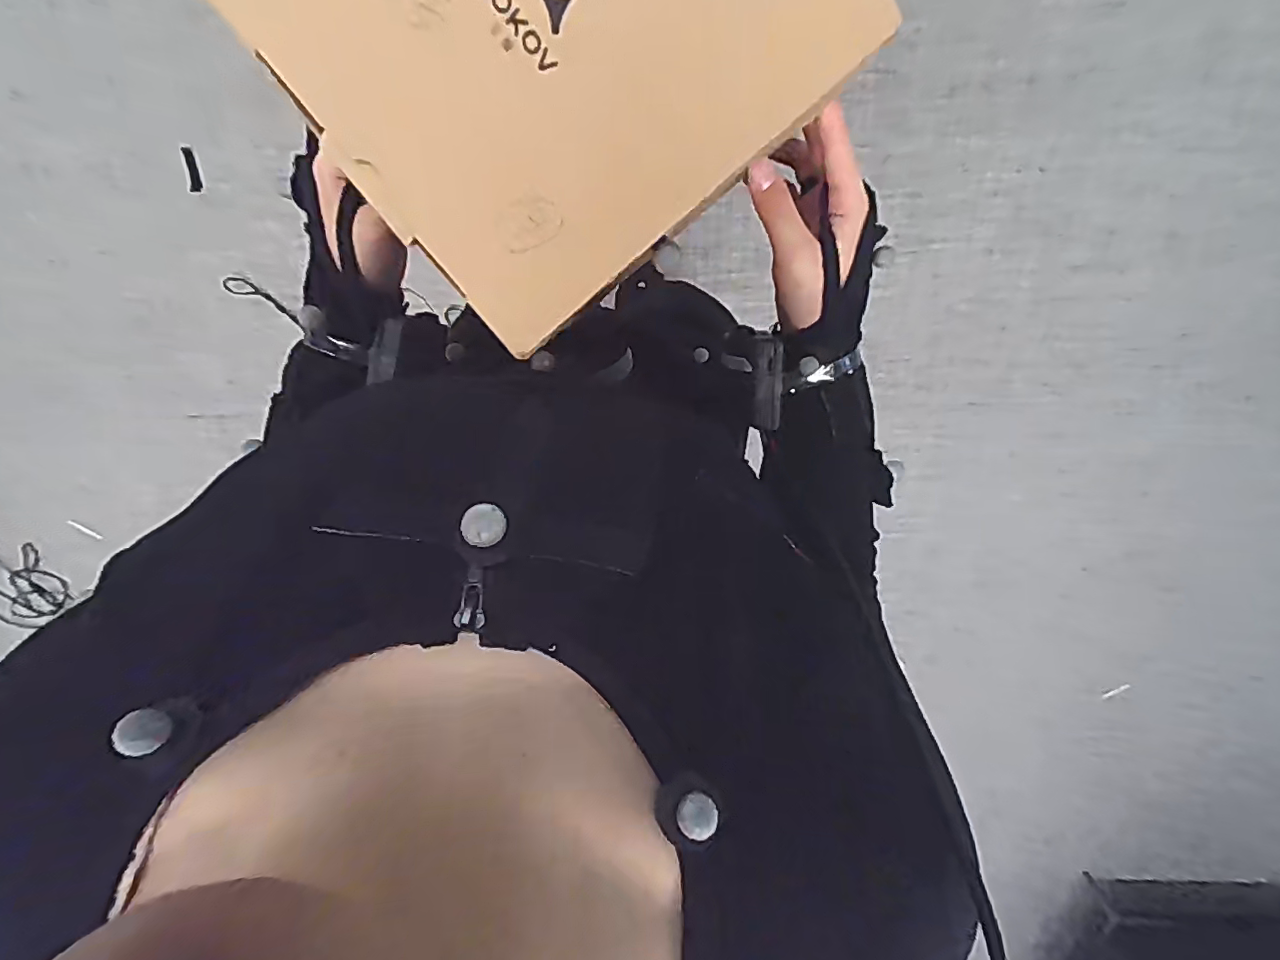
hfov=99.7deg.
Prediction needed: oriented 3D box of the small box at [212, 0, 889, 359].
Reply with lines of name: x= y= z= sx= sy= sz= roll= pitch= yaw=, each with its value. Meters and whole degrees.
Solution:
small box: x=-0.027 y=-0.185 z=0.254 sx=0.179 sy=0.176 sz=0.168 roll=-36 pitch=106 yaw=17
